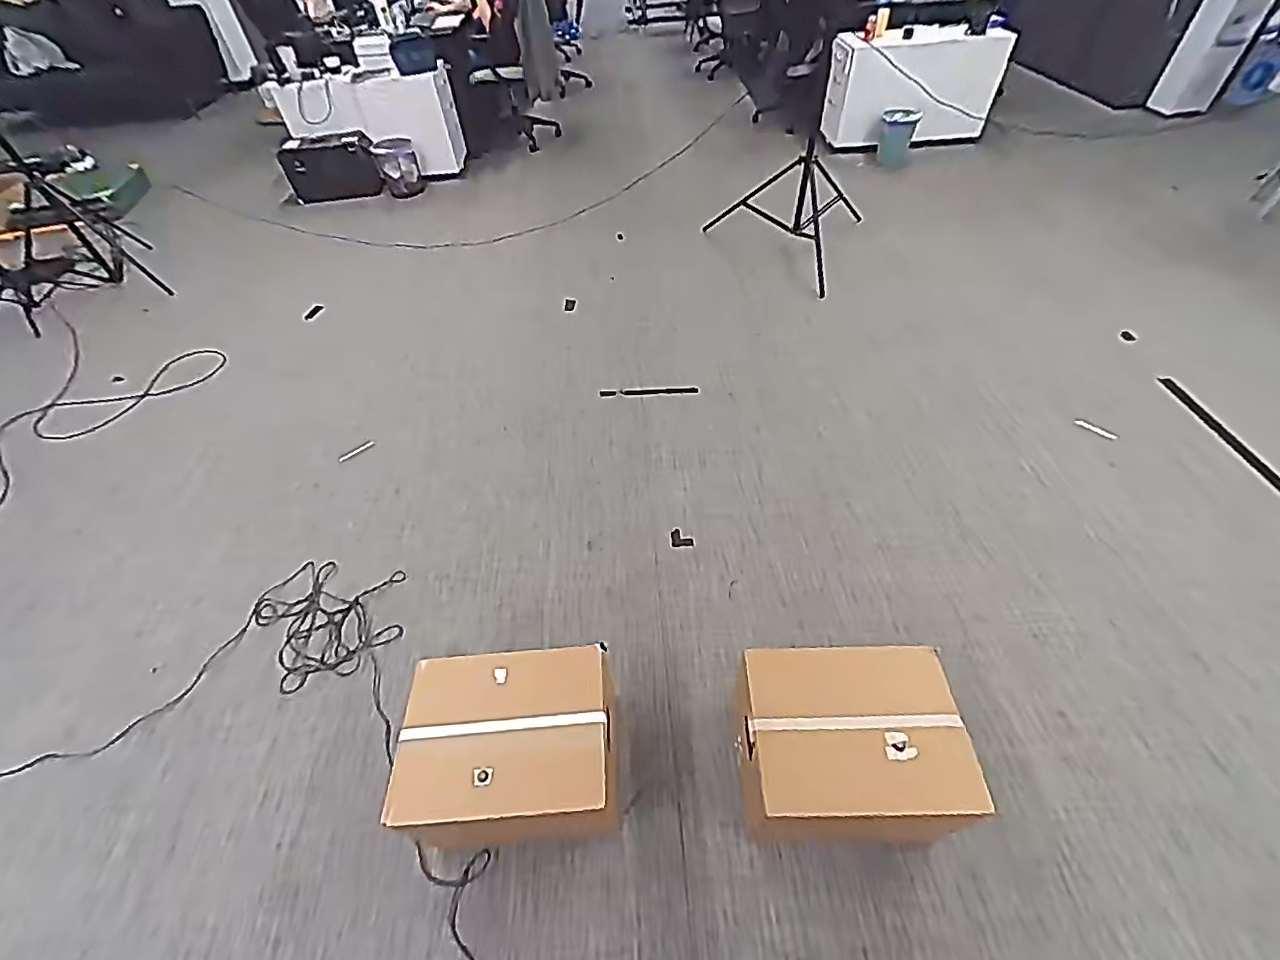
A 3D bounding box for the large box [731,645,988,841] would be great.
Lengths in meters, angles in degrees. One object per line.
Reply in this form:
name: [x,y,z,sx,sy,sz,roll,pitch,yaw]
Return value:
large box: [0.429,0.574,1.175,0.408,0.320,0.320,-1,49,1]
